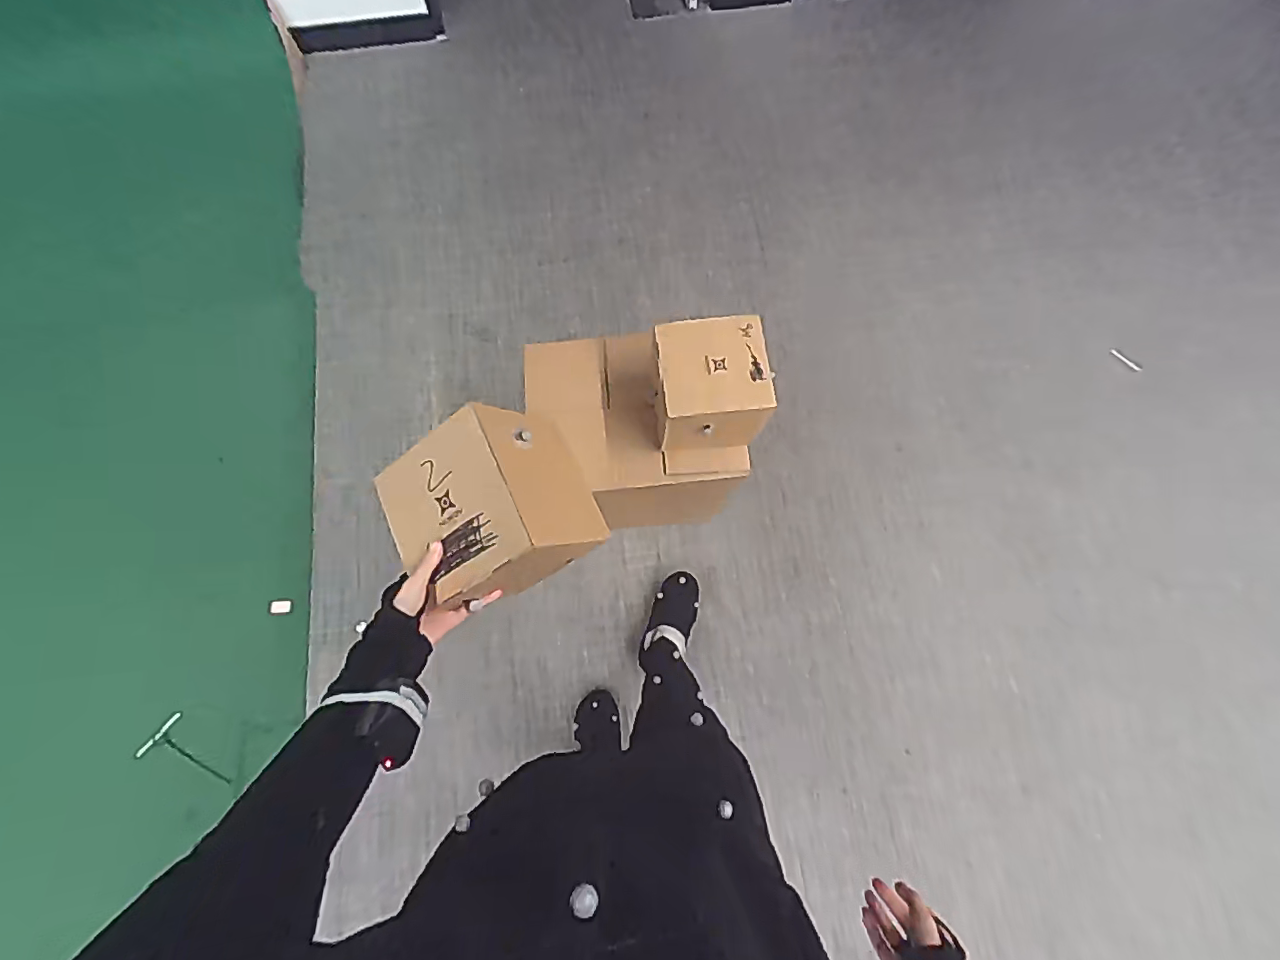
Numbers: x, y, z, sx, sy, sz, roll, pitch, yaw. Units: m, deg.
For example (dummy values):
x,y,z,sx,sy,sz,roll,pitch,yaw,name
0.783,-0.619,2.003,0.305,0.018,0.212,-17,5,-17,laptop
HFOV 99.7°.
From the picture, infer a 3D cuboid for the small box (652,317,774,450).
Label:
x,y,z,sx,sy,sz,roll,pitch,yaw,name
0.116,-0.157,0.932,0.179,0.176,0.168,-6,76,-1,small box
